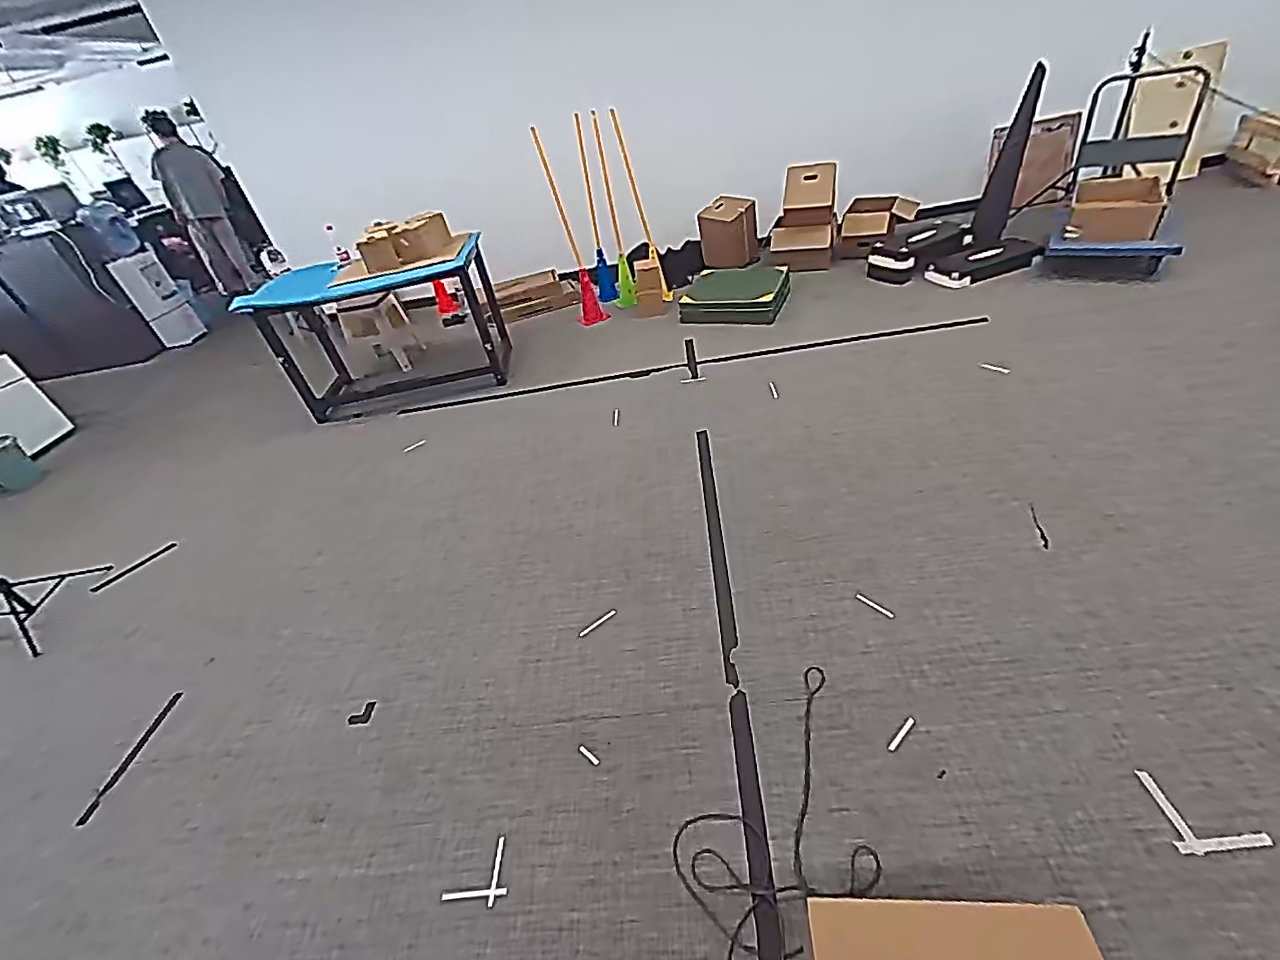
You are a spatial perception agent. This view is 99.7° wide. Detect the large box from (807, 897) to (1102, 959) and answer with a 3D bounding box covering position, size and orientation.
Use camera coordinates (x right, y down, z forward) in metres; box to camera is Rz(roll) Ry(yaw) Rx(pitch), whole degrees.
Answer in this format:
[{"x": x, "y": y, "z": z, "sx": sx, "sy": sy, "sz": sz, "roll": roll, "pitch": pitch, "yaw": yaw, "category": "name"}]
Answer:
[{"x": 0.489, "y": 0.879, "z": 0.827, "sx": 0.408, "sy": 0.320, "sz": 0.320, "roll": -5, "pitch": 38, "yaw": 9, "category": "large box"}]
